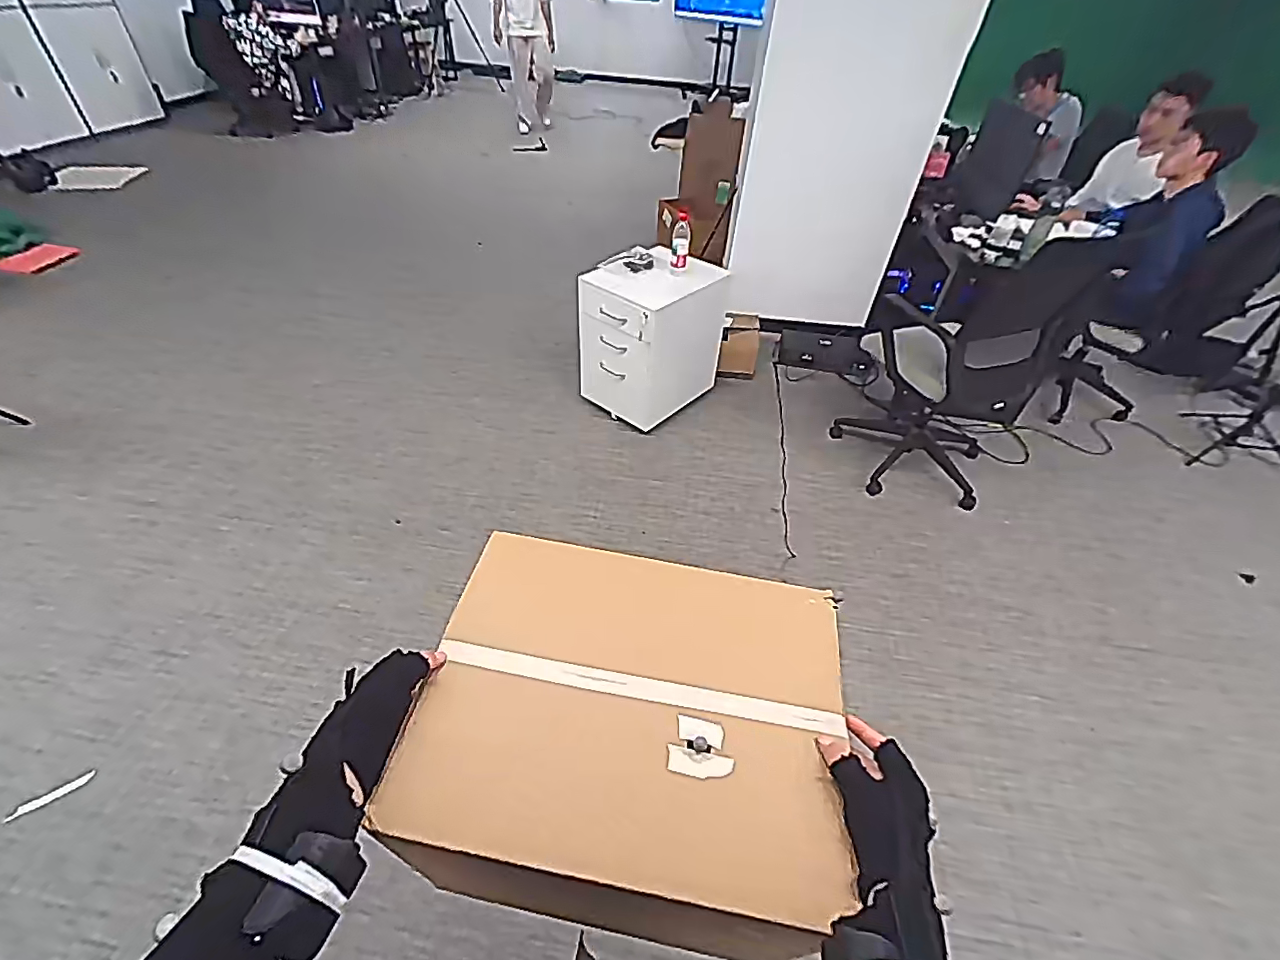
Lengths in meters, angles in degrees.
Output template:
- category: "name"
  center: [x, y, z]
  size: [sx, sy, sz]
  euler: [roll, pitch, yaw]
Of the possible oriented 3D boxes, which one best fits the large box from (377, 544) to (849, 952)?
- category: "large box"
  center: [-0.016, 0.317, 0.649]
  size: [0.408, 0.320, 0.320]
  euler: [10, 47, 4]
